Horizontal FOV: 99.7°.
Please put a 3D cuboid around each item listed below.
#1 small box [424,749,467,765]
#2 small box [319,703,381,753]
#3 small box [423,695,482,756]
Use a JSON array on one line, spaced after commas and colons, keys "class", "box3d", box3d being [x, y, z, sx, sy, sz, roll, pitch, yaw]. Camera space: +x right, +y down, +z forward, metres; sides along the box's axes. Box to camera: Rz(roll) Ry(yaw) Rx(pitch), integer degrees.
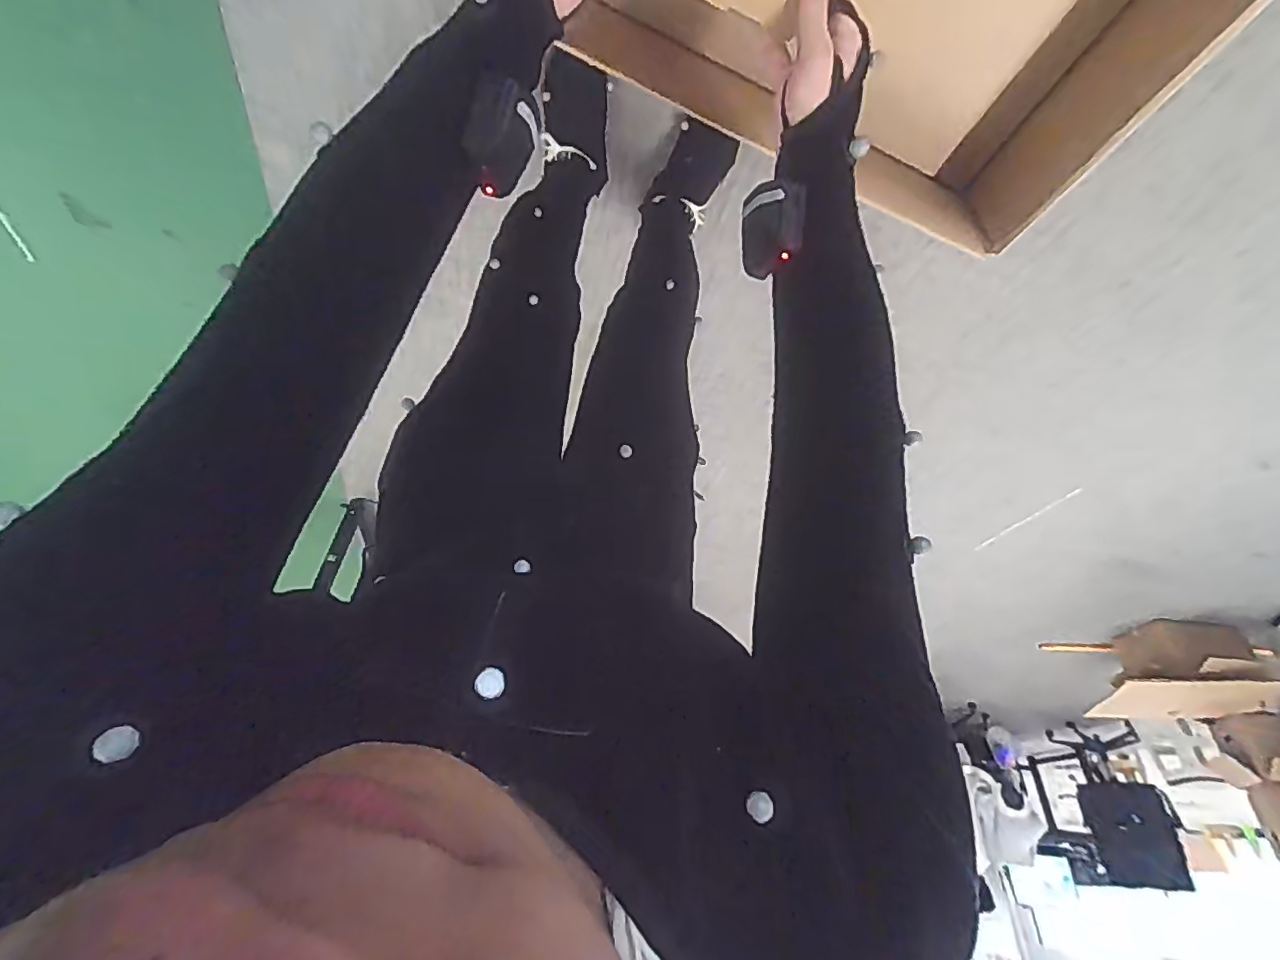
[{"class": "small box", "box3d": [-0.782, 1.069, 2.240, 0.168, 0.176, 0.179, 12, 144, -10]}, {"class": "small box", "box3d": [-1.156, 0.985, 2.170, 0.168, 0.176, 0.179, 13, 145, -12]}, {"class": "small box", "box3d": [-0.690, 0.908, 1.996, 0.168, 0.176, 0.179, 14, 145, -11]}]
